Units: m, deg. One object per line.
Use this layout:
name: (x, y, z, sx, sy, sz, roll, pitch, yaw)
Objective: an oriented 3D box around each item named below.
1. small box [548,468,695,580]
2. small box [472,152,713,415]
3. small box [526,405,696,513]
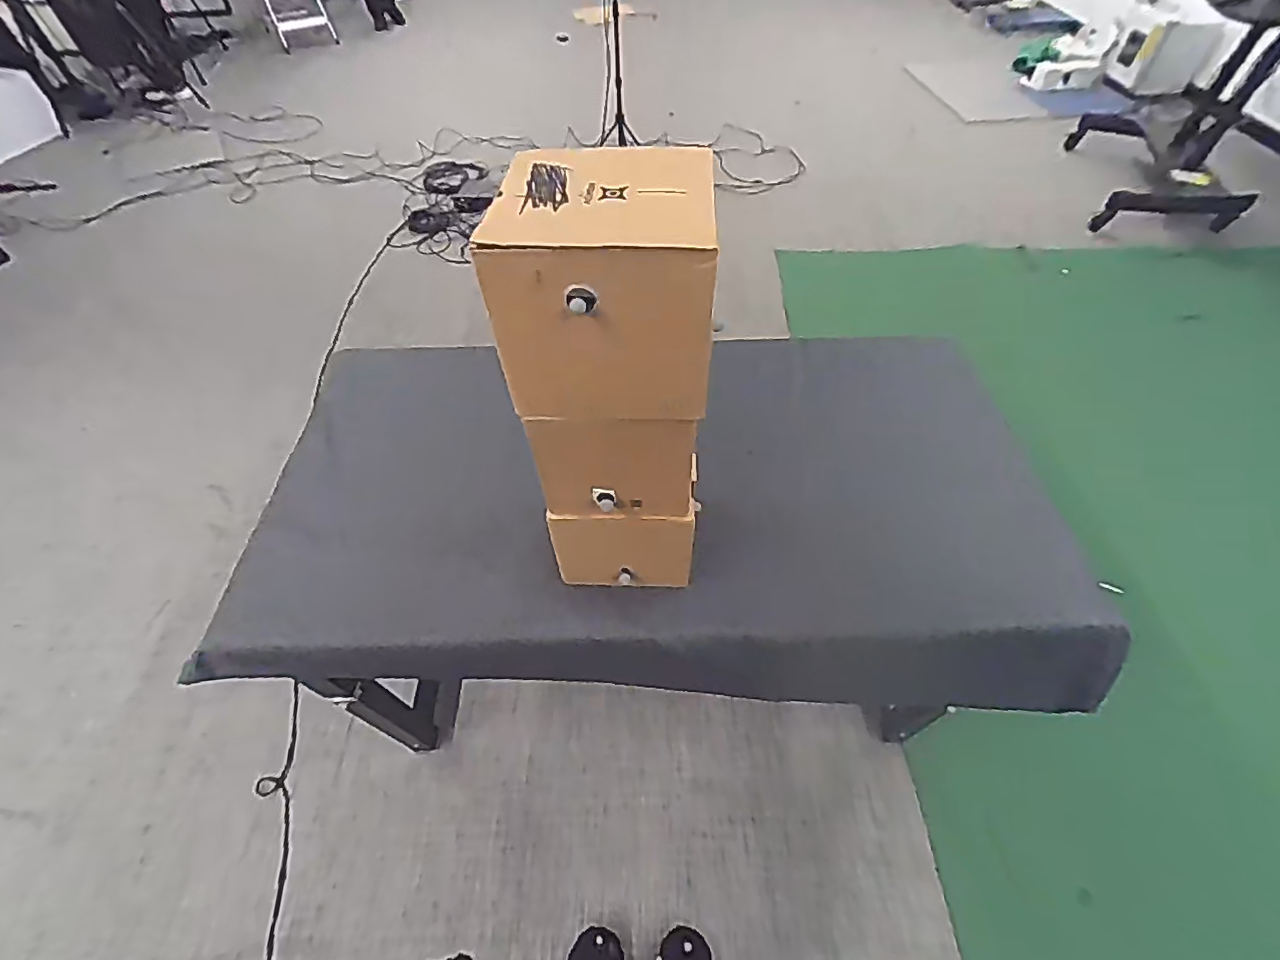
small box: (-0.020, 0.028, 0.749, 0.179, 0.176, 0.168, 1, 52, 1)
small box: (-0.027, -0.174, 0.492, 0.179, 0.176, 0.168, 2, 52, 3)
small box: (-0.024, -0.079, 0.627, 0.168, 0.176, 0.179, -1, 53, 2)
